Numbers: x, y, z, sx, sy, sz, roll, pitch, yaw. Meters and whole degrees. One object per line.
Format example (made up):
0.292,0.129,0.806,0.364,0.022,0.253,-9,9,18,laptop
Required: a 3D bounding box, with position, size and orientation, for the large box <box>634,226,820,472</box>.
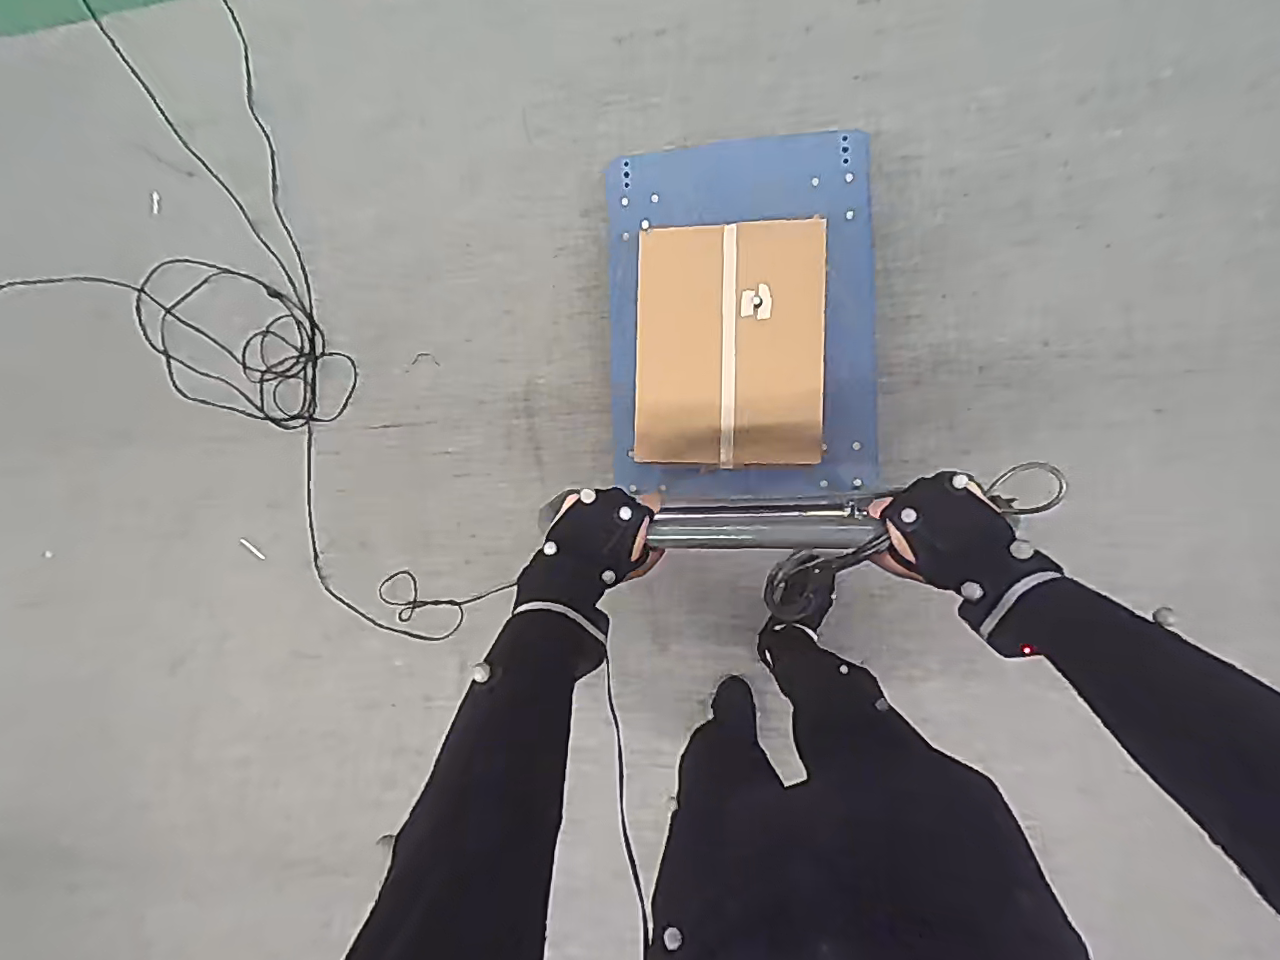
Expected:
0.169,-0.221,1.062,0.320,0.320,0.408,1,89,9,large box
